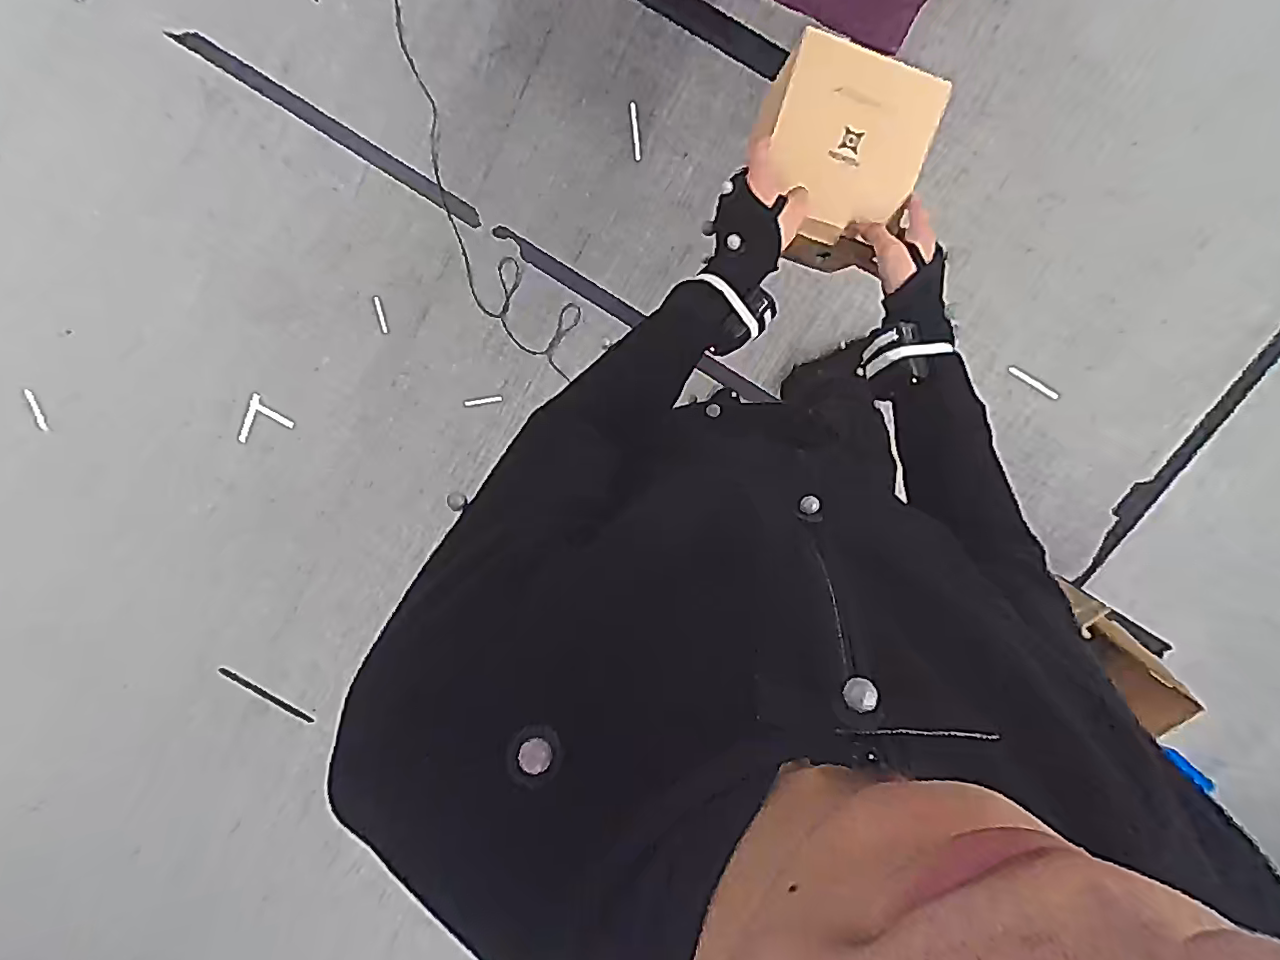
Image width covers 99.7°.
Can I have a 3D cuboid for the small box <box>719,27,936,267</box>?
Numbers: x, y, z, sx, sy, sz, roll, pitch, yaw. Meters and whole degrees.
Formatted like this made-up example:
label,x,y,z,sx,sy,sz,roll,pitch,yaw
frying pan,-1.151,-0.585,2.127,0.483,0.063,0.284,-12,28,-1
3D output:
label,x,y,z,sx,sy,sz,roll,pitch,yaw
small box,0.203,-0.370,0.644,0.168,0.176,0.179,15,102,-6
